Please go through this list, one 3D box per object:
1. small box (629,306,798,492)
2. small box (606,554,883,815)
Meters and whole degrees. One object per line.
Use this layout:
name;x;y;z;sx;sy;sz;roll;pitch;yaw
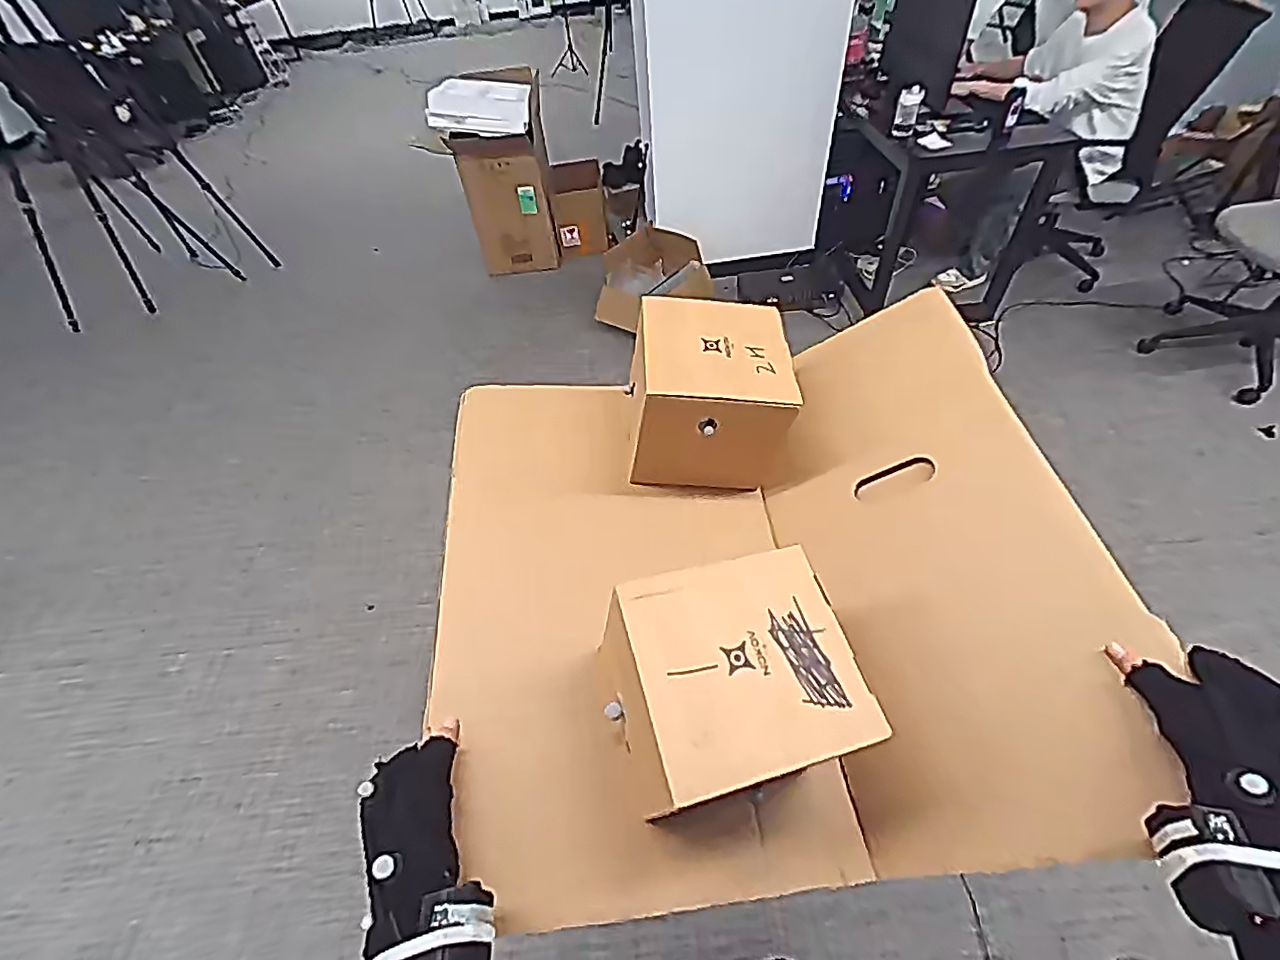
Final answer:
small box;0.079;-0.098;0.696;0.179;0.176;0.168;4;55;-7
small box;0.074;0.189;0.496;0.179;0.176;0.168;-10;58;-14
